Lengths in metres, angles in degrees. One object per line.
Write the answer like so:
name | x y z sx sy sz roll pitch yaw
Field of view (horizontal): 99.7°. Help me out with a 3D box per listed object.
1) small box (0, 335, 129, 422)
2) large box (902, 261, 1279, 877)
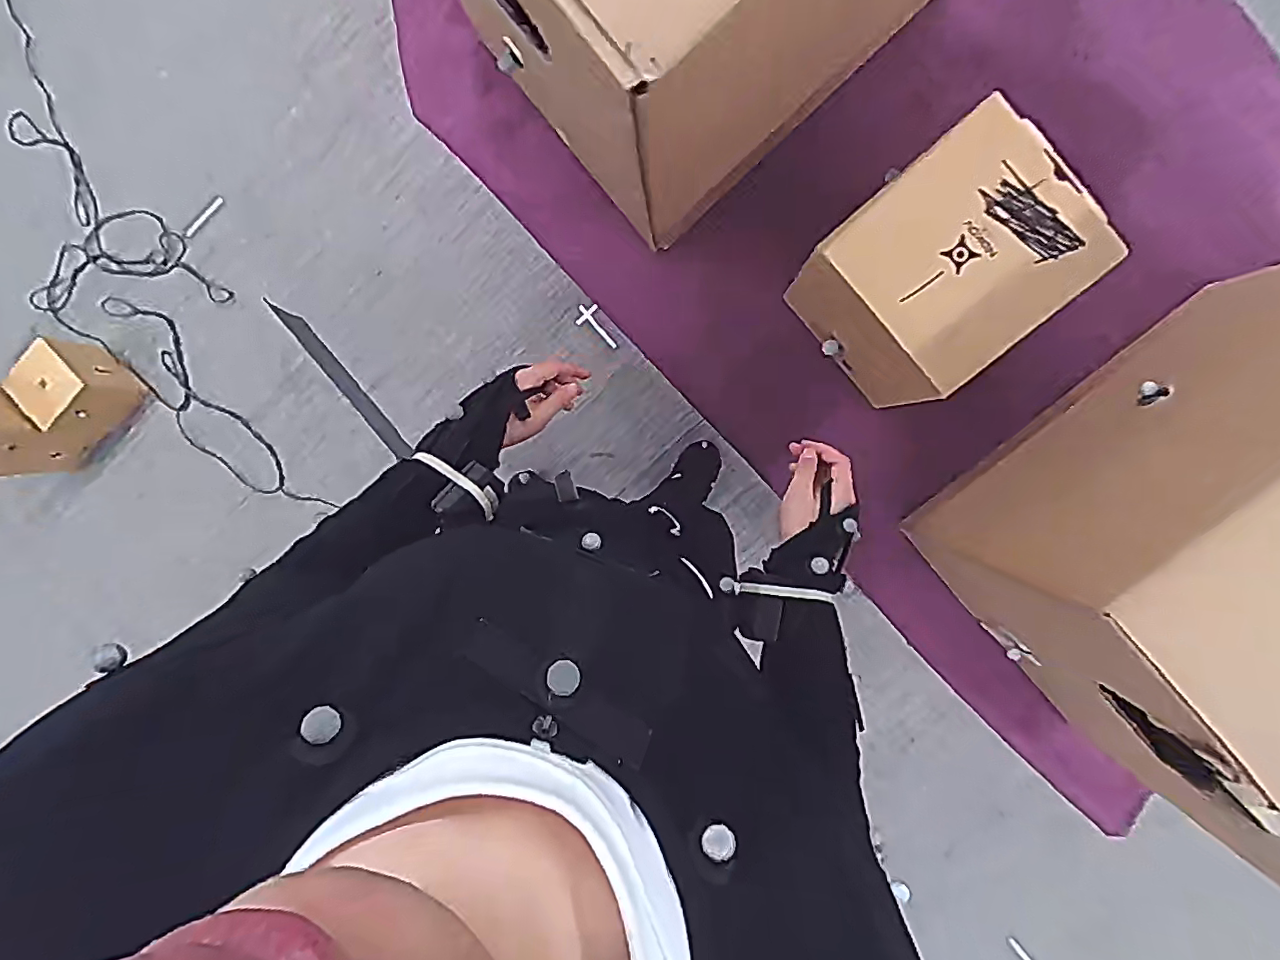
small box | -1.450 -0.250 1.338 0.168 0.176 0.179 -17 104 -7
large box | 0.520 0.047 0.441 0.408 0.320 0.320 -41 91 6
